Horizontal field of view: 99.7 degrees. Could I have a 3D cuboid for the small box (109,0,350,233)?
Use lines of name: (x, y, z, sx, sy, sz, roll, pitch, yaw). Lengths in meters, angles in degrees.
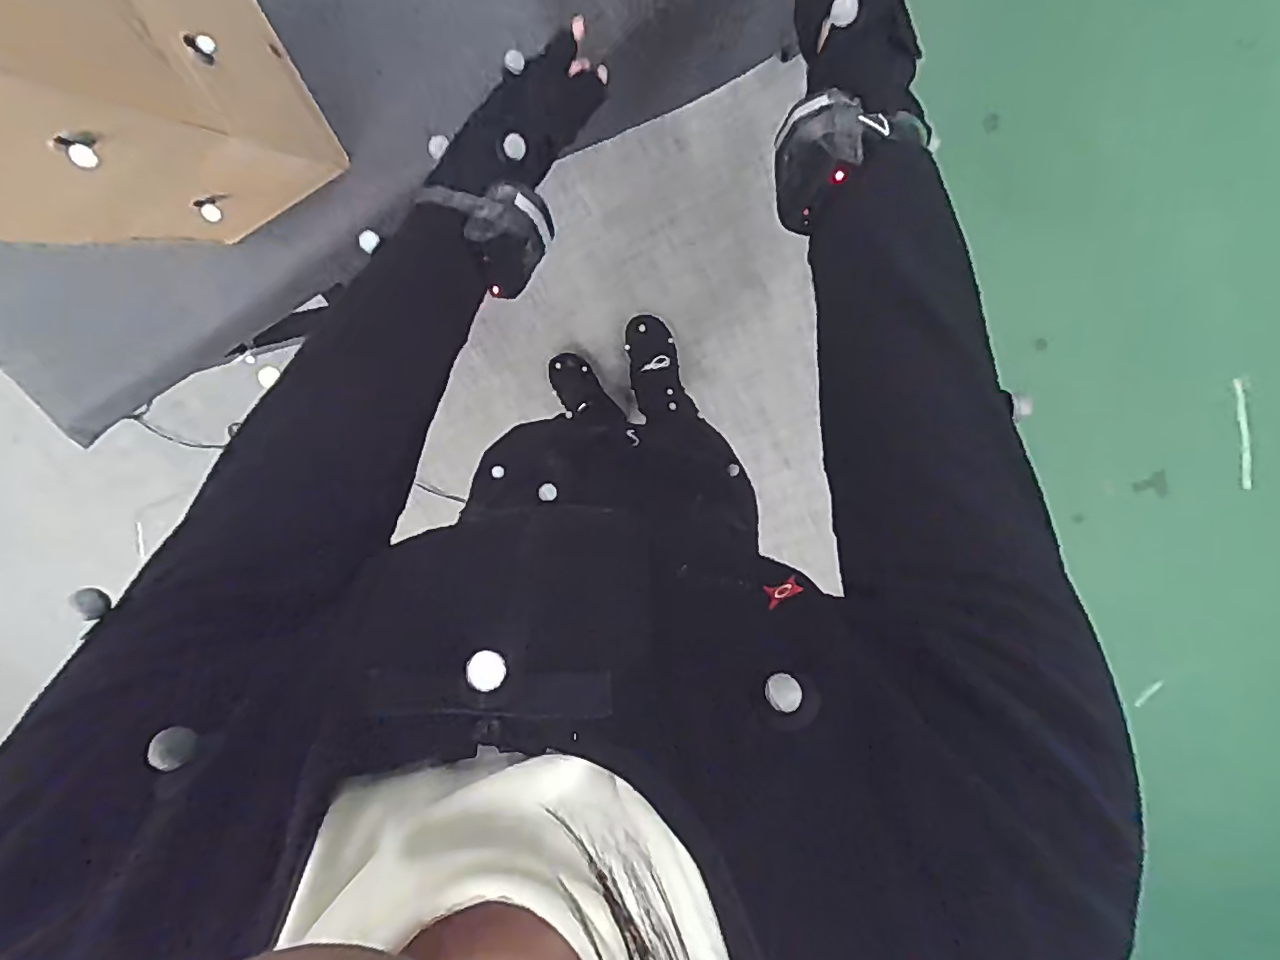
small box: (-0.413, -0.341, 0.488, 0.179, 0.176, 0.168, -22, 108, 13)
